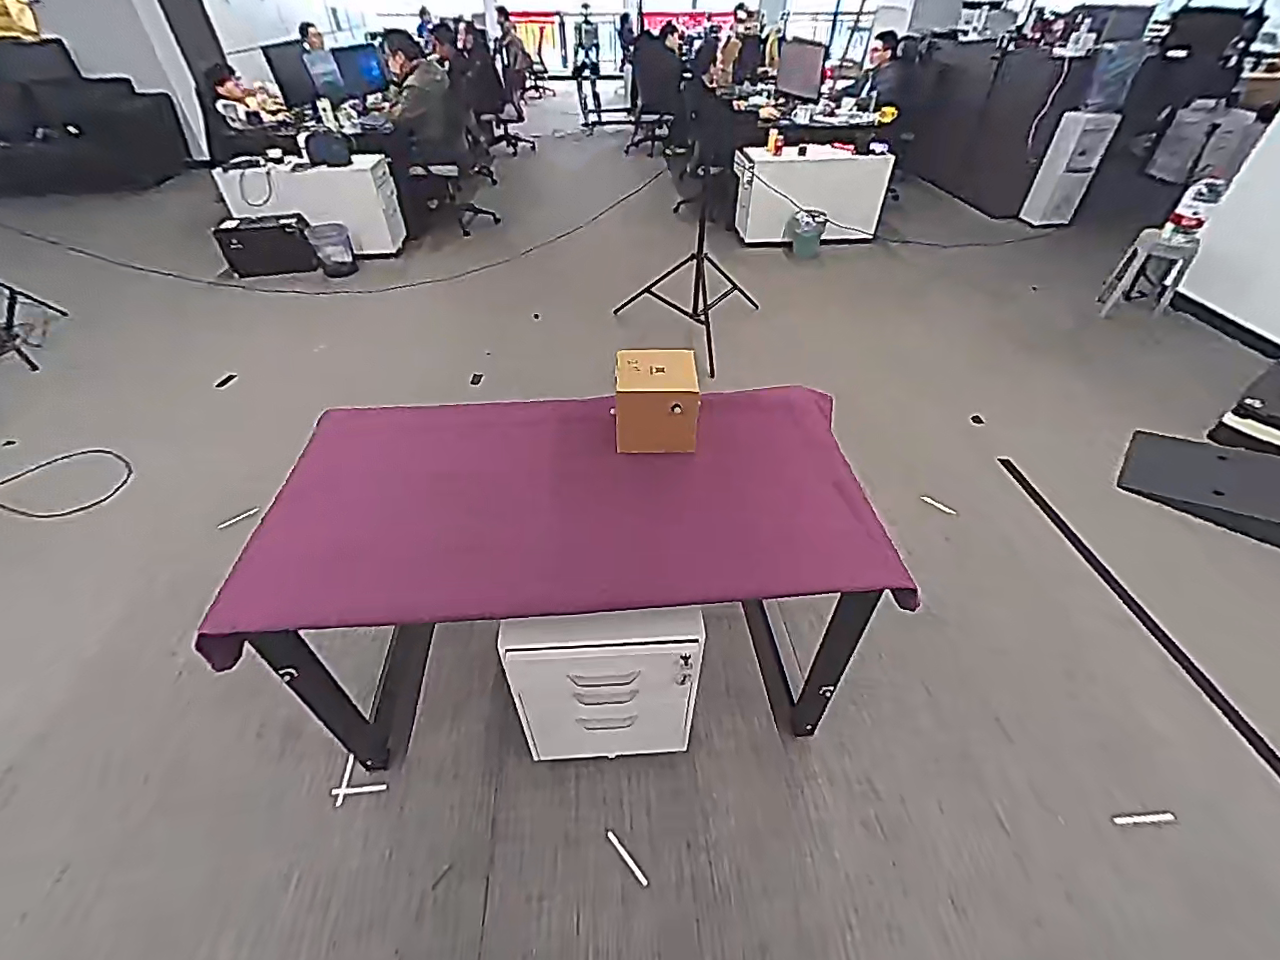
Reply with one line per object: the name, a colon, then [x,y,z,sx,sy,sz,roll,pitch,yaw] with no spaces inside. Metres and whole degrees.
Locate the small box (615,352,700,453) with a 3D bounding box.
small box: [0.035,-0.172,1.220,0.179,0.176,0.168,-1,43,0]
